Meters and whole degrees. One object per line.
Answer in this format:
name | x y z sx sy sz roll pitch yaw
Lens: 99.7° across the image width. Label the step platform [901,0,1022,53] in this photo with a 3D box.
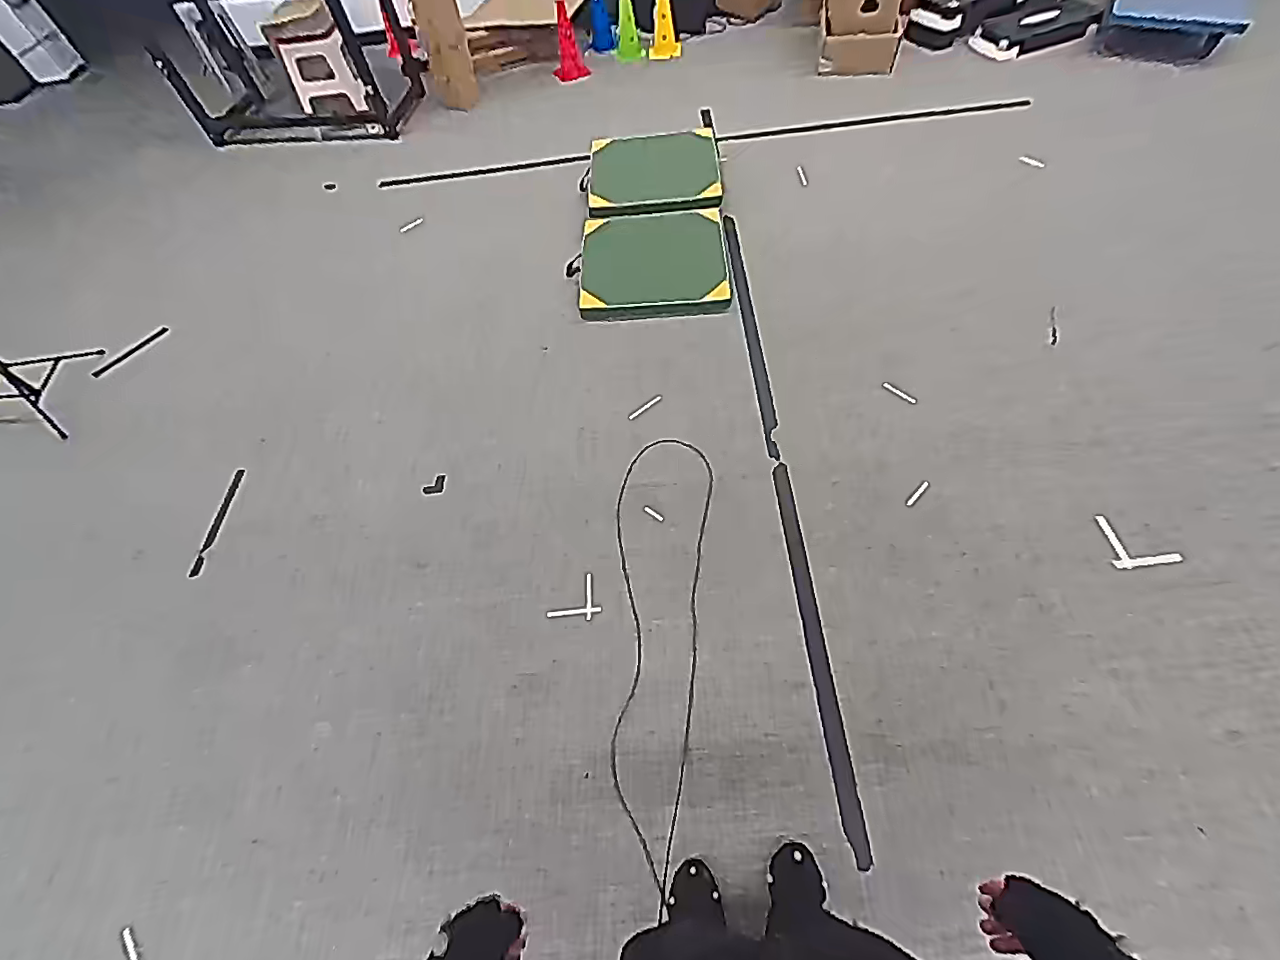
step platform | 1.880 -2.728 3.137 0.684 0.204 0.286 -30 60 -12
